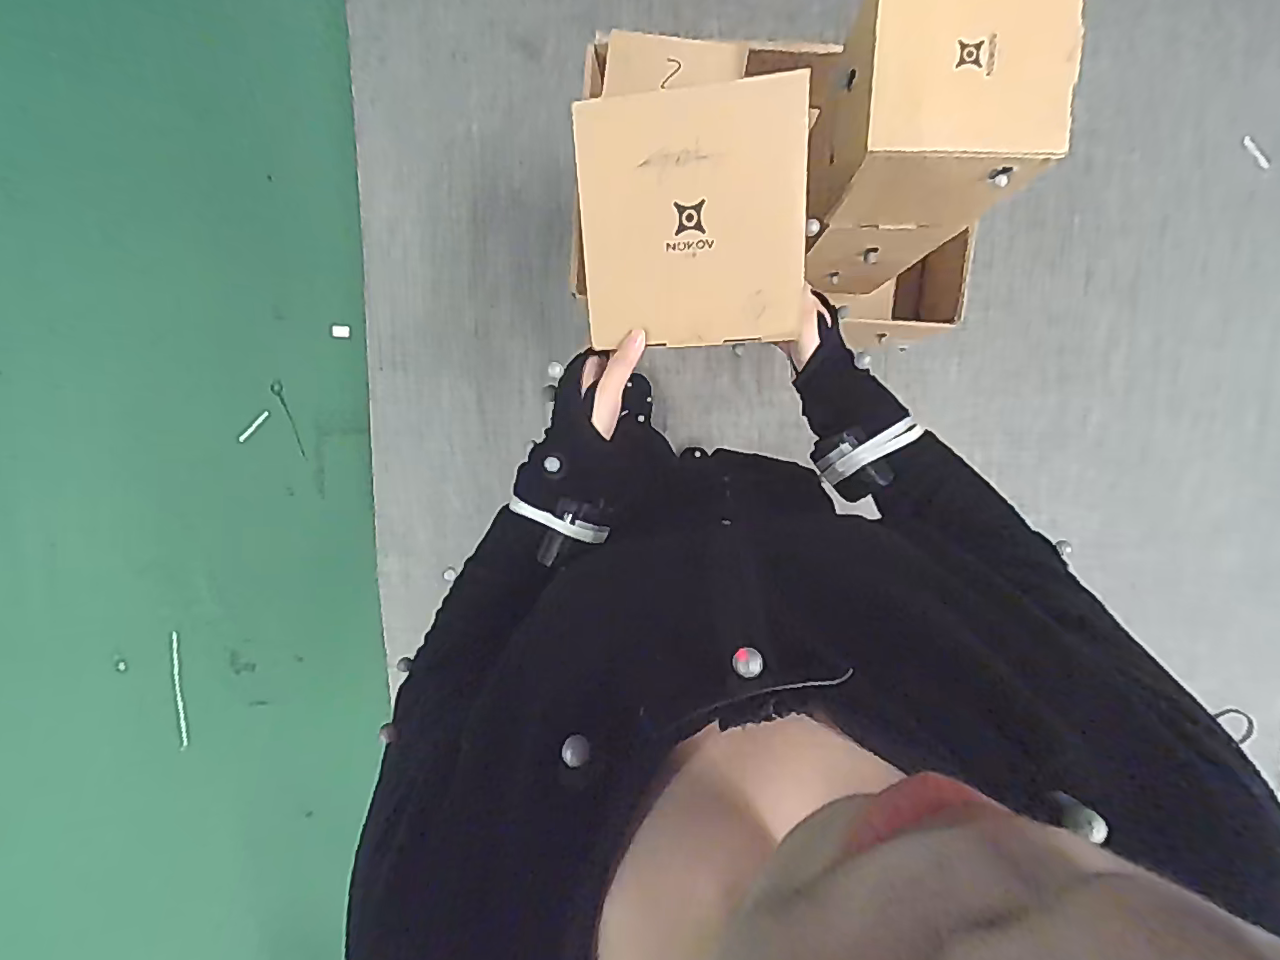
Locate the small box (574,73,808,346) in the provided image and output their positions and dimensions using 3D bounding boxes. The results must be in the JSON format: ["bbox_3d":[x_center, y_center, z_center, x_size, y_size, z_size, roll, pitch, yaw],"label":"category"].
[{"bbox_3d":[0.048,-0.215,0.474,0.168,0.176,0.179,0,107,9],"label":"small box"}]

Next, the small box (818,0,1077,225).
[{"bbox_3d":[0.293,-0.377,0.554,0.179,0.176,0.168,3,96,3],"label":"small box"}]

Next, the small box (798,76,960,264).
[{"bbox_3d":[0.307,-0.395,0.717,0.168,0.176,0.179,2,97,3],"label":"small box"}]
